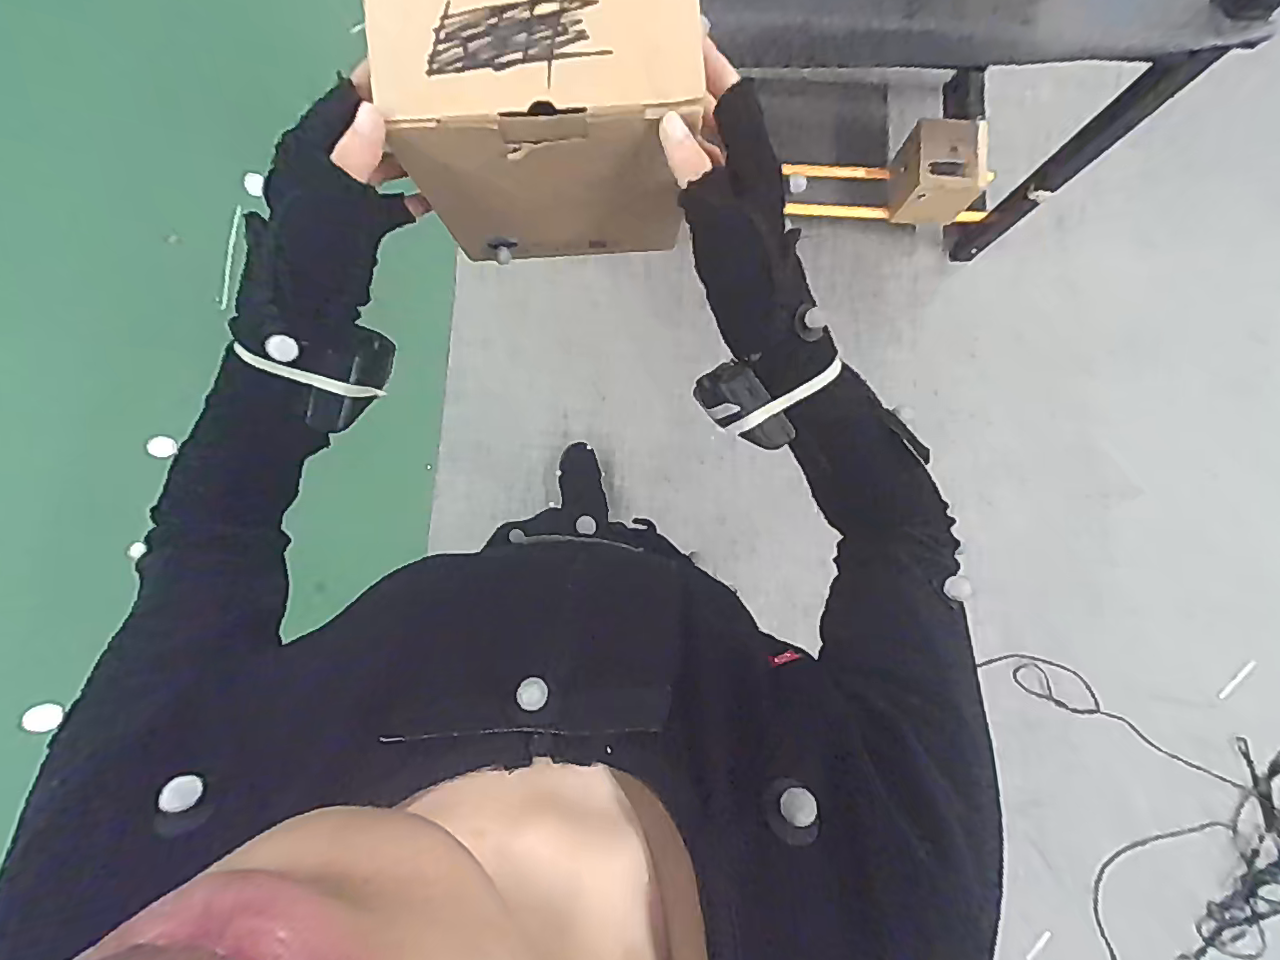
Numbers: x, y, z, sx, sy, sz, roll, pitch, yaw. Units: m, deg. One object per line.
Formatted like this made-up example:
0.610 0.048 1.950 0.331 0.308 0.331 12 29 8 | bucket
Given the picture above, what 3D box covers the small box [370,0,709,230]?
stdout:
-0.053 -0.277 0.343 0.168 0.176 0.179 -4 88 -2 | small box
